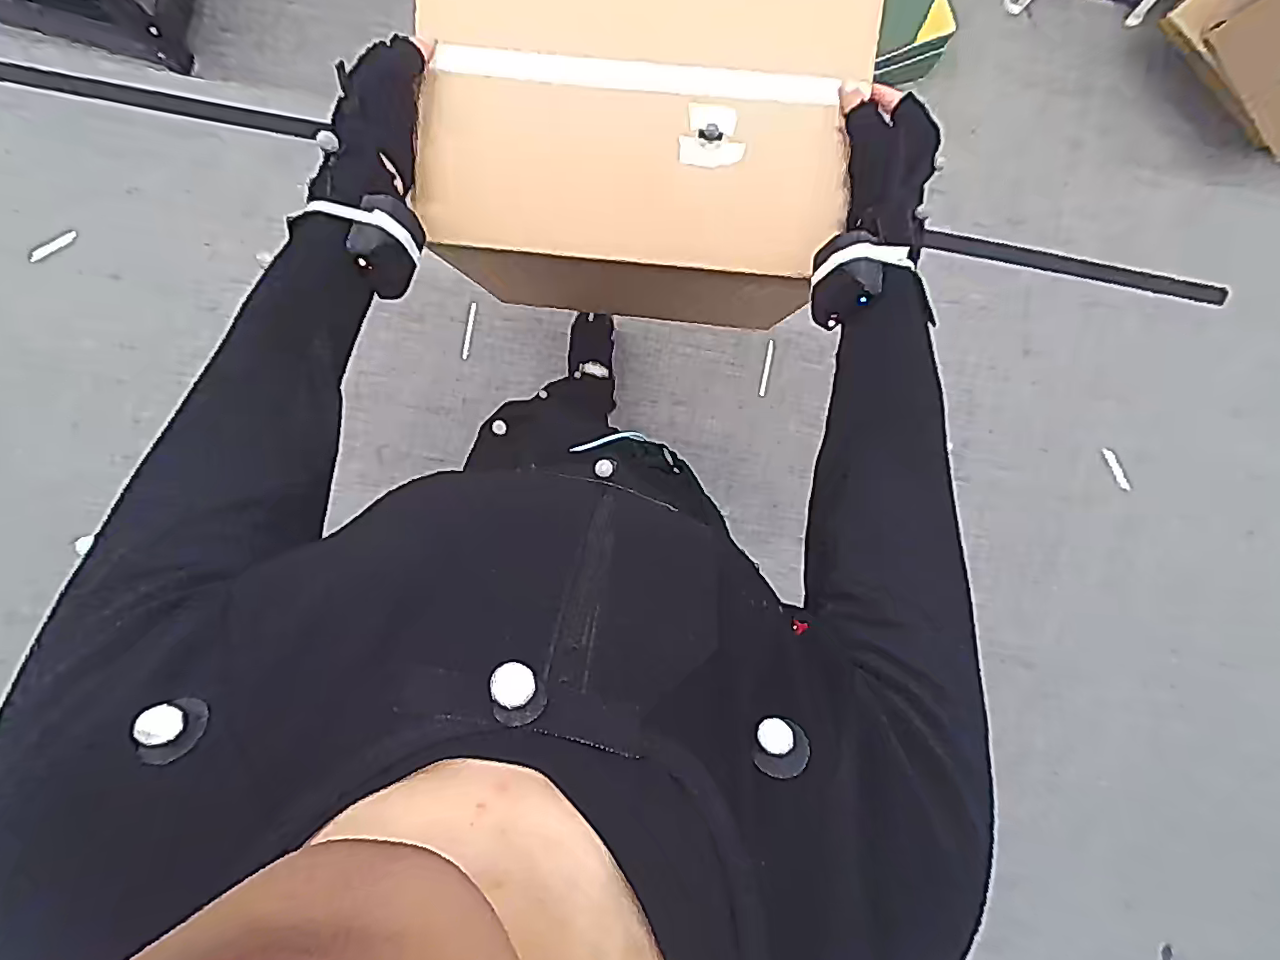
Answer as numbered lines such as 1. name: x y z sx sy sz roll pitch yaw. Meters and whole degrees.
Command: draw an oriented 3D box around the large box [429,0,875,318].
1. large box: 0.007 -0.389 0.643 0.408 0.320 0.320 5 98 0
